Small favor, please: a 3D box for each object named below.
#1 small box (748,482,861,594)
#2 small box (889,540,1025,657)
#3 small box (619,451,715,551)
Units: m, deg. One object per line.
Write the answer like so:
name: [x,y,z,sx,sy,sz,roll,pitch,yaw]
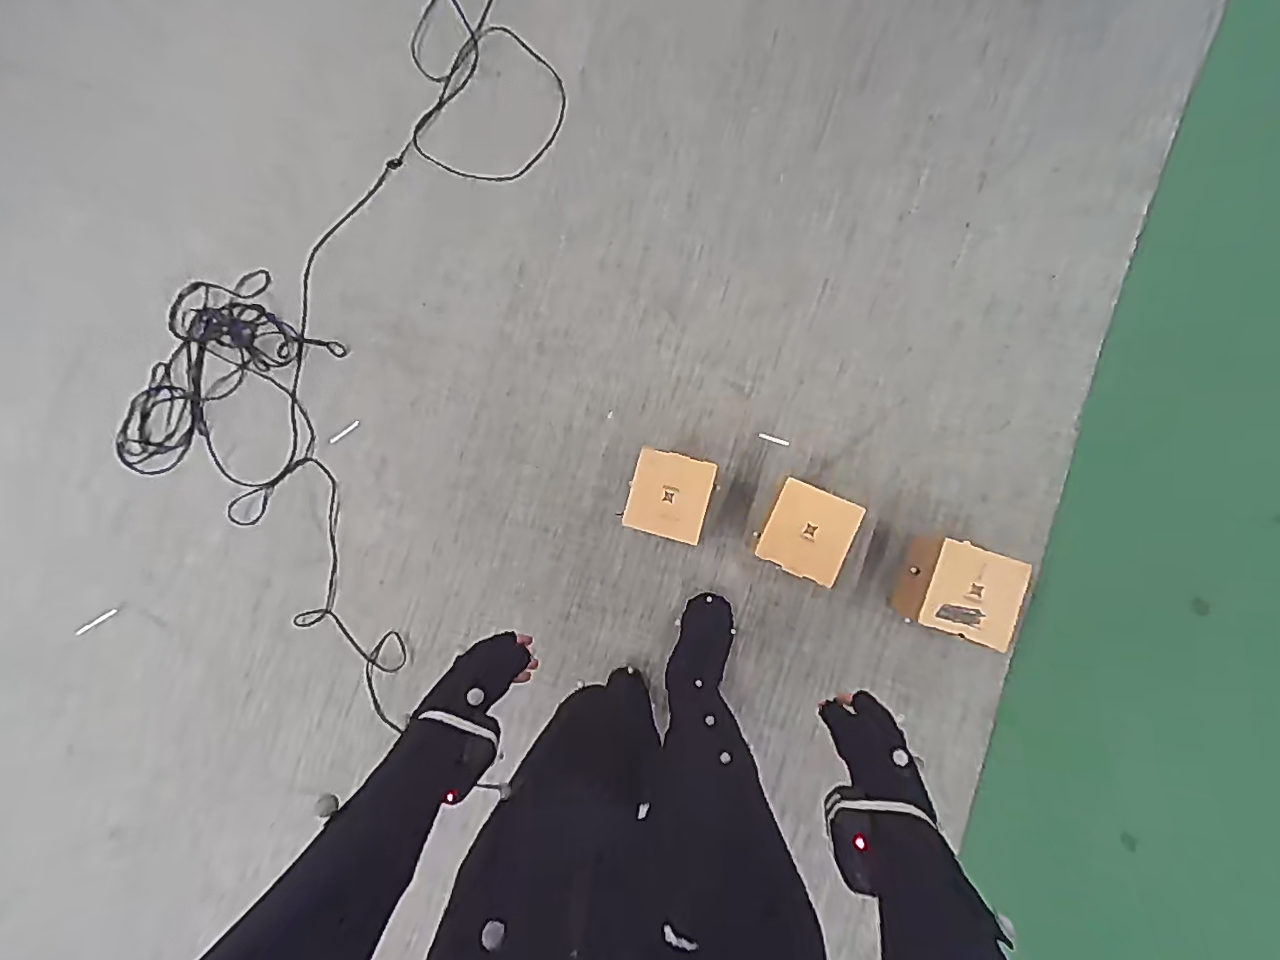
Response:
small box: [0.339,0.120,1.155,0.168,0.176,0.179,24,90,8]
small box: [0.634,0.232,1.107,0.168,0.176,0.179,19,88,8]
small box: [0.067,0.047,1.197,0.168,0.176,0.179,14,90,10]
